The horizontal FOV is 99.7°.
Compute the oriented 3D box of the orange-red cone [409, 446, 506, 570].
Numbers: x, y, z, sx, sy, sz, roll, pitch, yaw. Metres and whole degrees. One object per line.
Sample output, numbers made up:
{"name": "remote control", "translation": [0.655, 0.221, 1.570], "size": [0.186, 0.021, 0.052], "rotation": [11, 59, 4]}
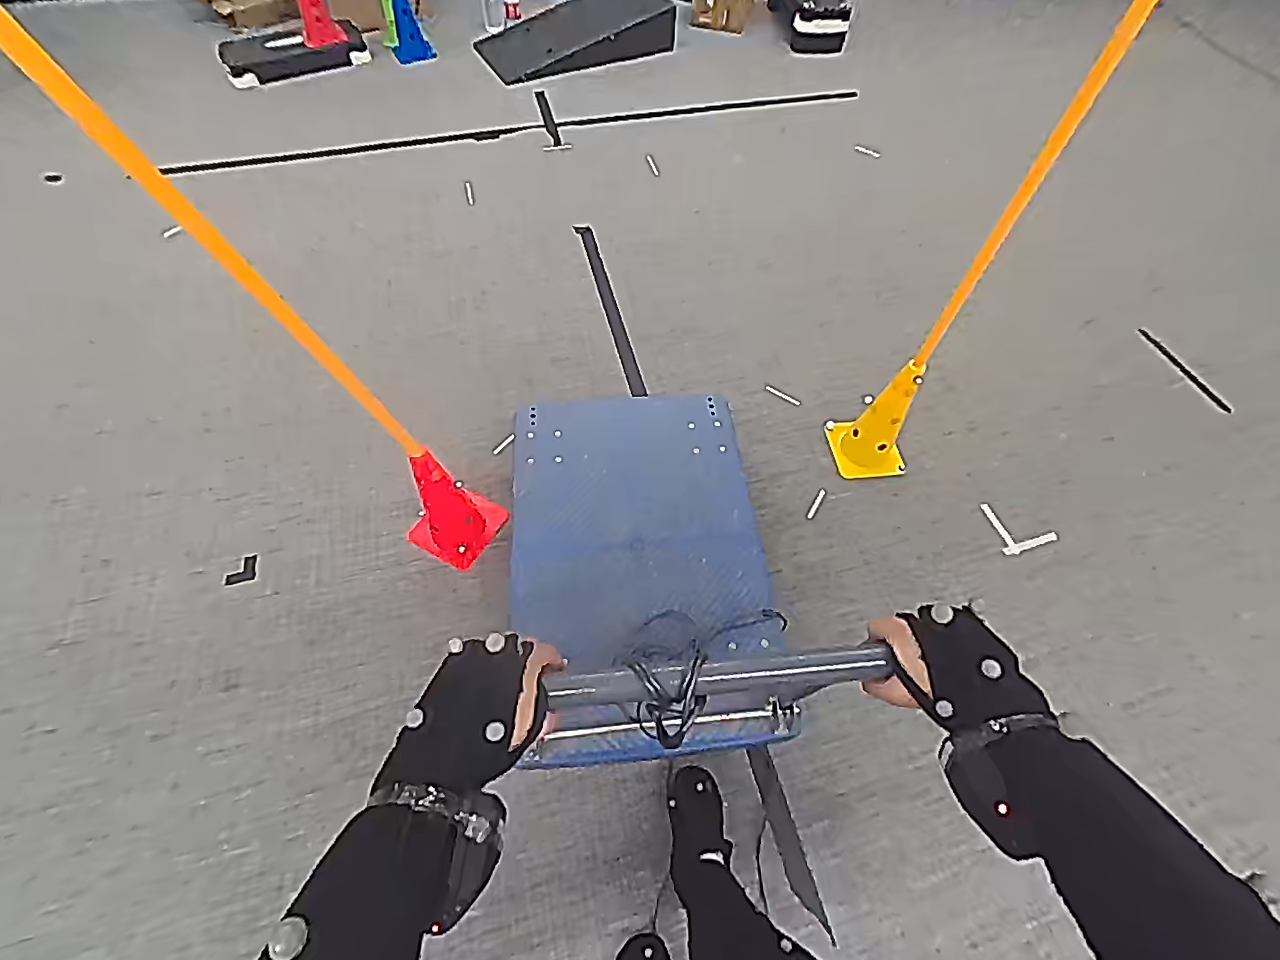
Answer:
{"name": "orange-red cone", "translation": [-0.474, 0.034, 1.293], "size": [0.198, 0.360, 0.199], "rotation": [27, 60, 13]}
